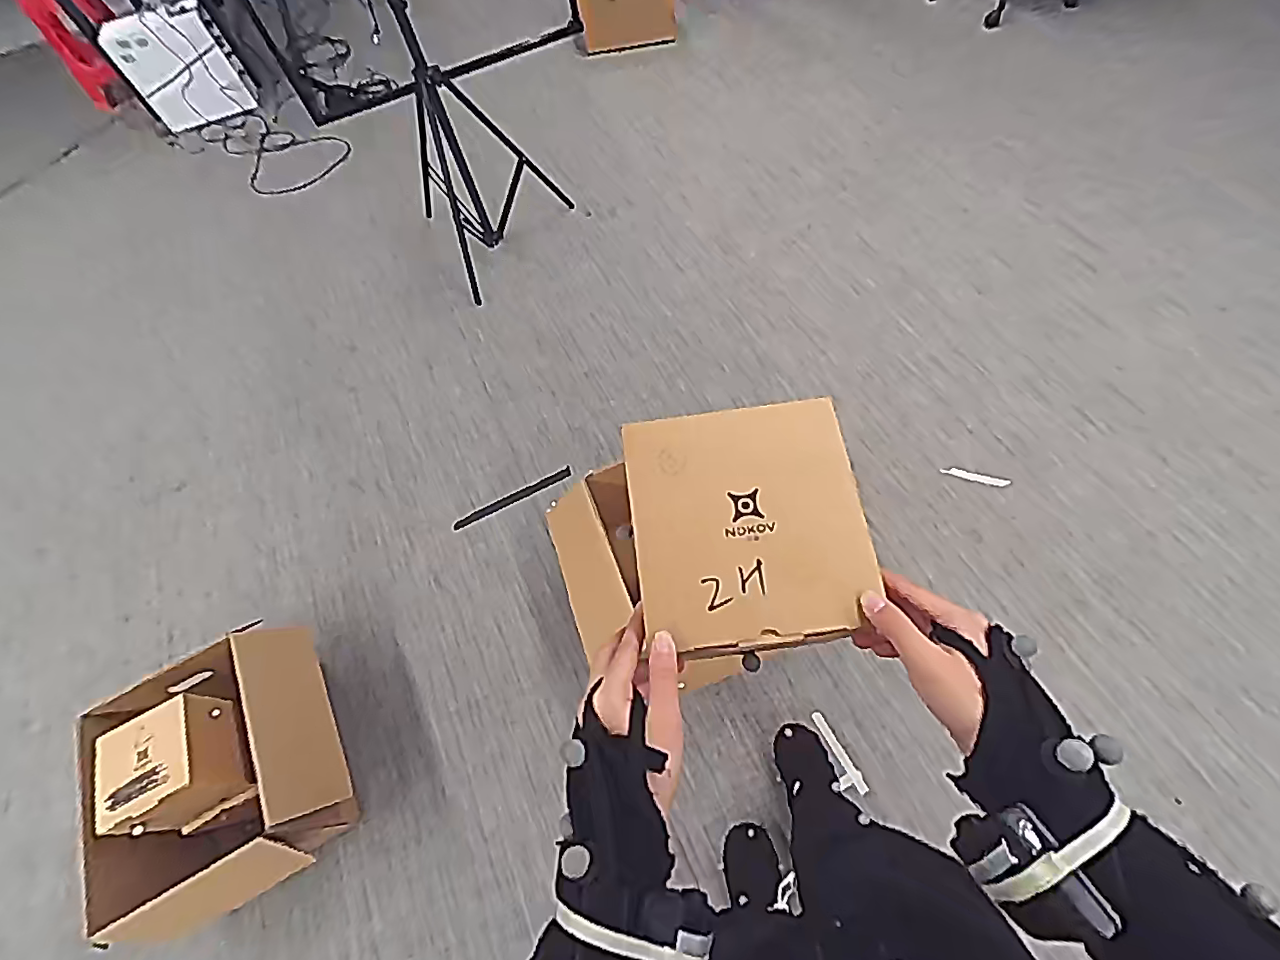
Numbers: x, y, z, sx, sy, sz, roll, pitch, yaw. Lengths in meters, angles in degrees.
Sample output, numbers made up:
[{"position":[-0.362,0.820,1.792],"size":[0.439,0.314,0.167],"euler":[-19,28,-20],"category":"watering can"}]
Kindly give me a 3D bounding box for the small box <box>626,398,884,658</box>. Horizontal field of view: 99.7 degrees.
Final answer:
[{"position":[0.080,0.052,0.470],"size":[0.168,0.176,0.179],"euler":[-7,69,1],"category":"small box"}]
